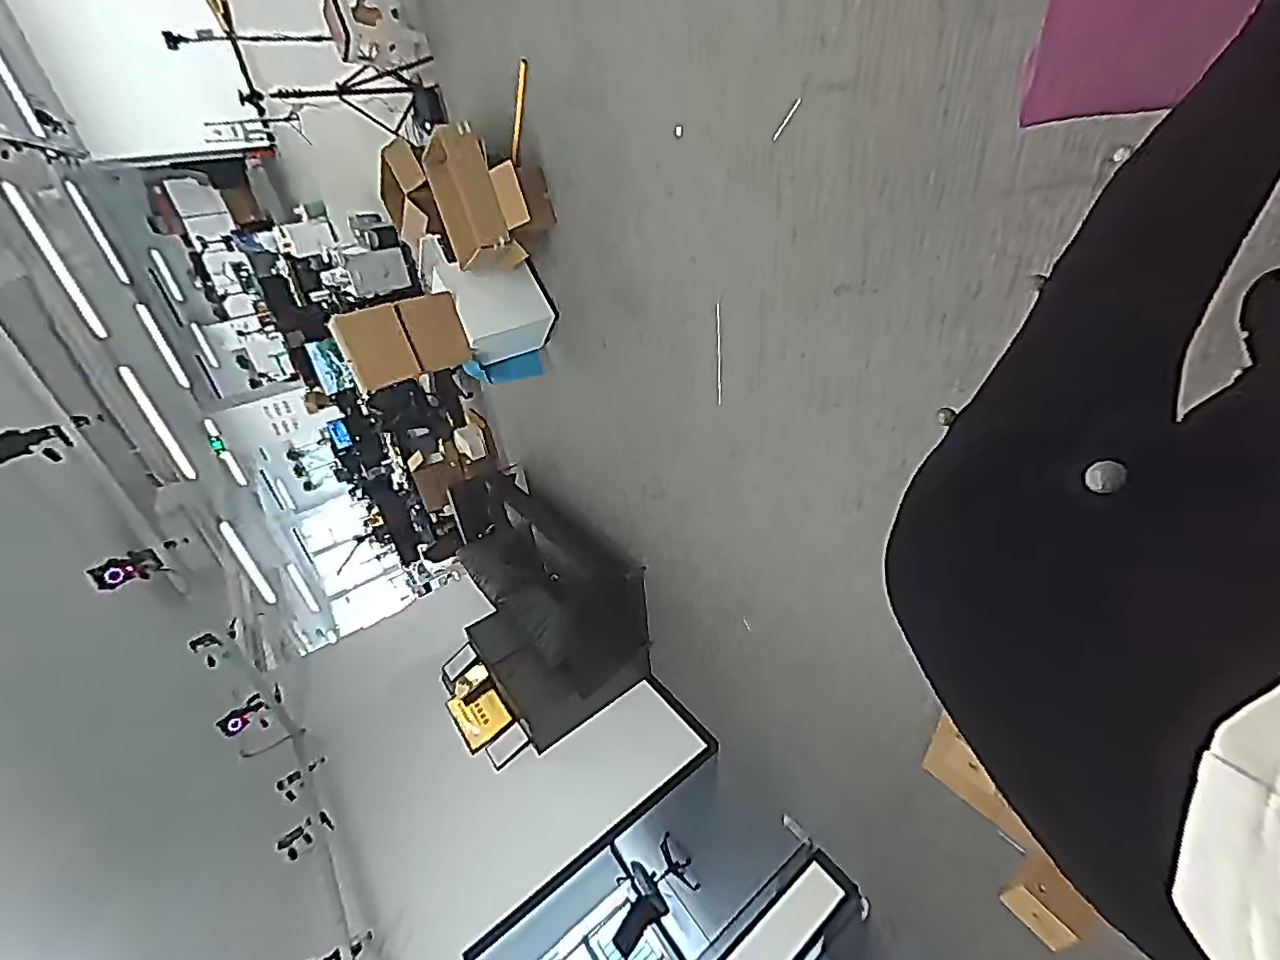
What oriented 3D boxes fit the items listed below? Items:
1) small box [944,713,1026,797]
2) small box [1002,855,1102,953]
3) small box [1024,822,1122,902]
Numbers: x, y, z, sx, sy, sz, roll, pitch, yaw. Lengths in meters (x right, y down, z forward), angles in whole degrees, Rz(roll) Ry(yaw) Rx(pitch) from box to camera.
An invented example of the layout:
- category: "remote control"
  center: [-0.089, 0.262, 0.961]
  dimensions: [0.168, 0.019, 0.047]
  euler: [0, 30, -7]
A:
- category: "small box"
  center: [1.237, 0.978, 1.937]
  dimensions: [0.179, 0.176, 0.168]
  euler: [34, 139, 42]
- category: "small box"
  center: [1.325, 1.354, 1.742]
  dimensions: [0.179, 0.176, 0.168]
  euler: [39, 144, 37]
- category: "small box"
  center: [1.459, 1.297, 1.822]
  dimensions: [0.179, 0.176, 0.168]
  euler: [40, 144, 37]
